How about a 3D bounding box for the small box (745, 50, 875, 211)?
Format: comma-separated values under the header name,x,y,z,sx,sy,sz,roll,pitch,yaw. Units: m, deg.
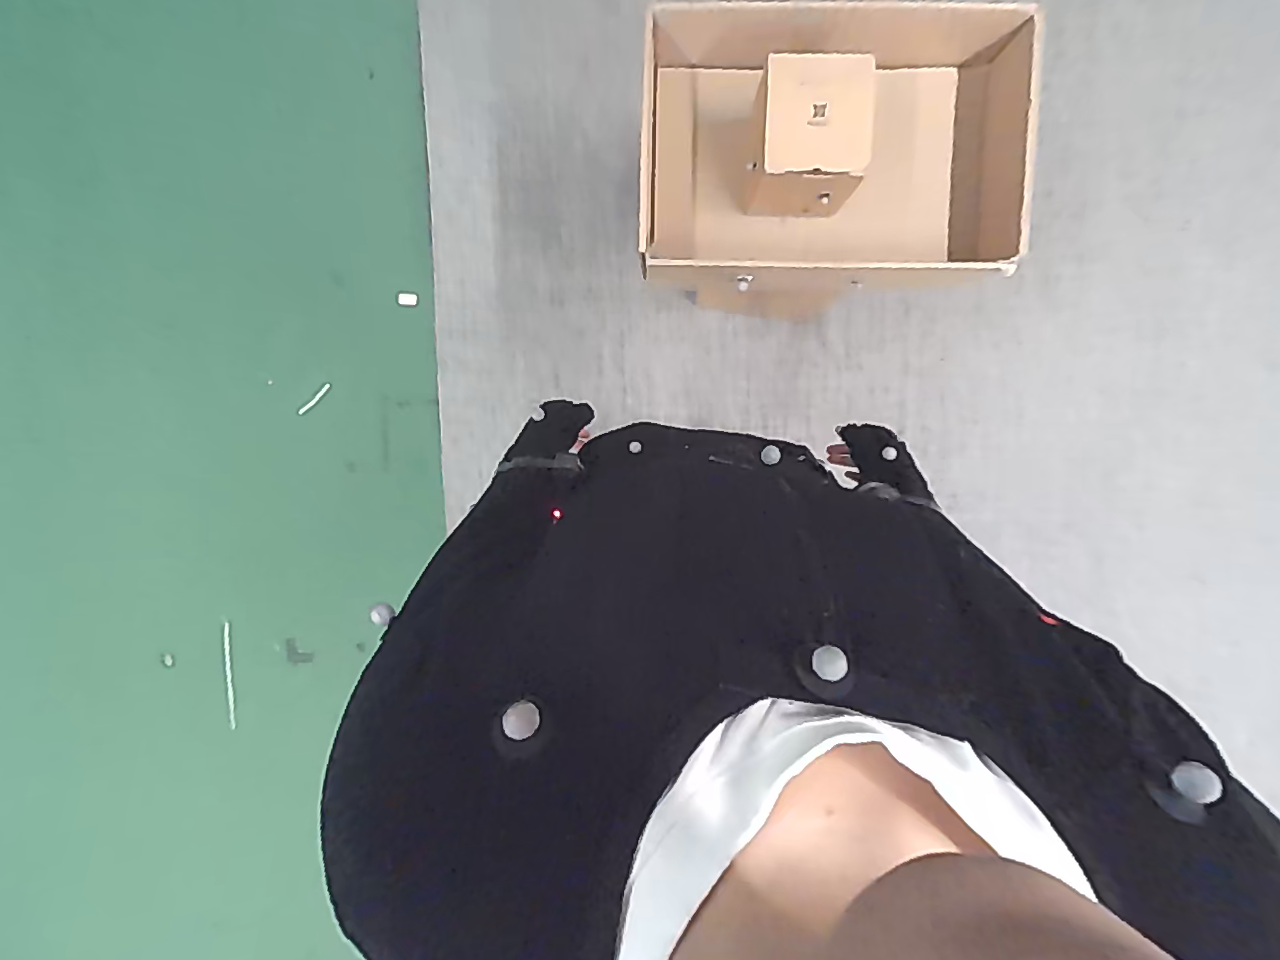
name,x,y,z,sx,sy,sz,roll,pitch,yaw
small box,0.275,-0.572,0.908,0.168,0.176,0.179,1,94,-1
